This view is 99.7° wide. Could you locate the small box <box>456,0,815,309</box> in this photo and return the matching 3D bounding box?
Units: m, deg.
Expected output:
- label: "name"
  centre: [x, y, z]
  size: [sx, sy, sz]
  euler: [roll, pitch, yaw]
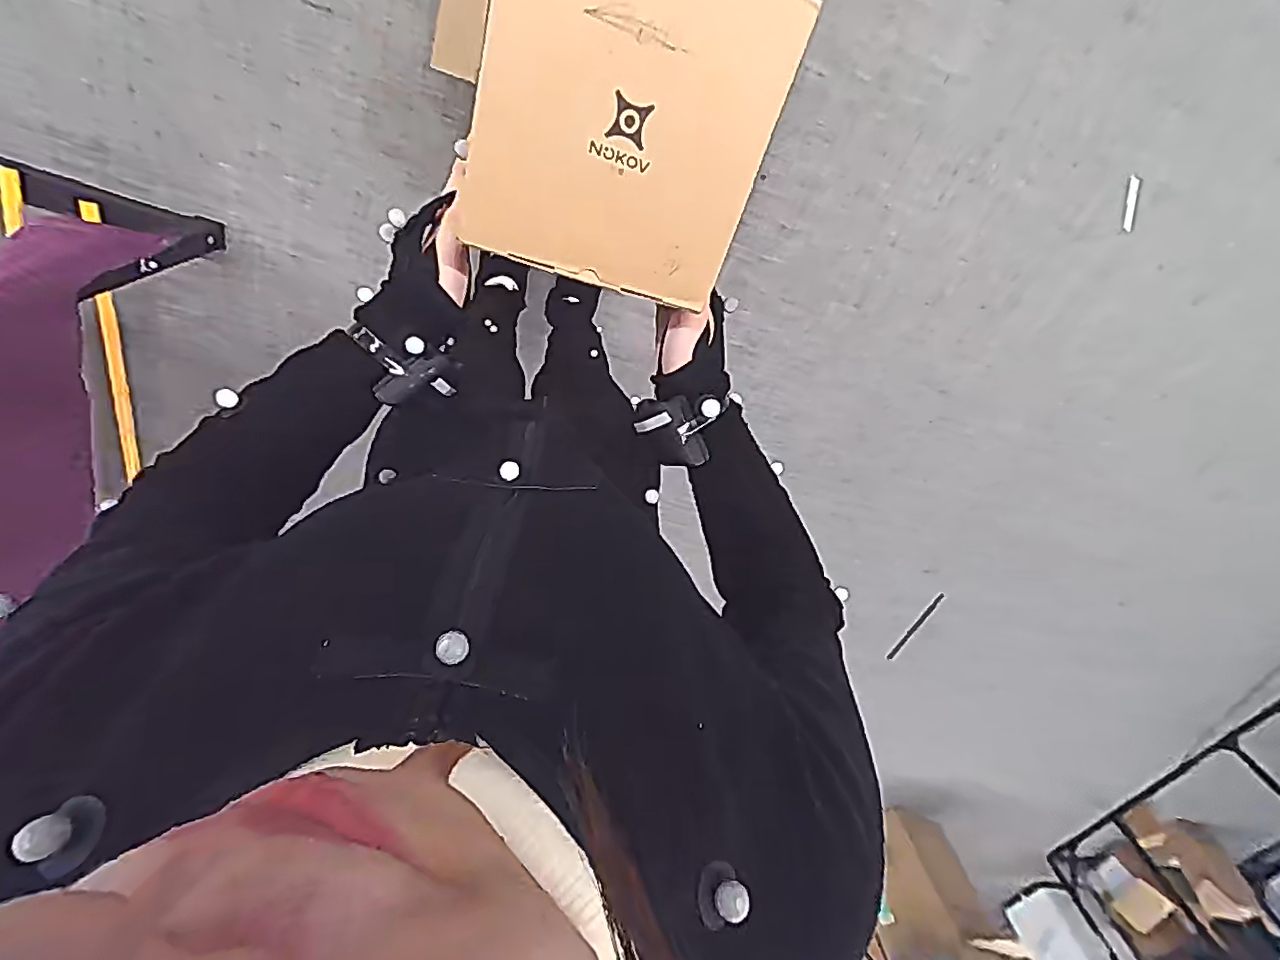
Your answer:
- label: "small box"
  centre: [-0.019, -0.246, 0.372]
  size: [0.168, 0.176, 0.179]
  euler: [11, 120, -17]
